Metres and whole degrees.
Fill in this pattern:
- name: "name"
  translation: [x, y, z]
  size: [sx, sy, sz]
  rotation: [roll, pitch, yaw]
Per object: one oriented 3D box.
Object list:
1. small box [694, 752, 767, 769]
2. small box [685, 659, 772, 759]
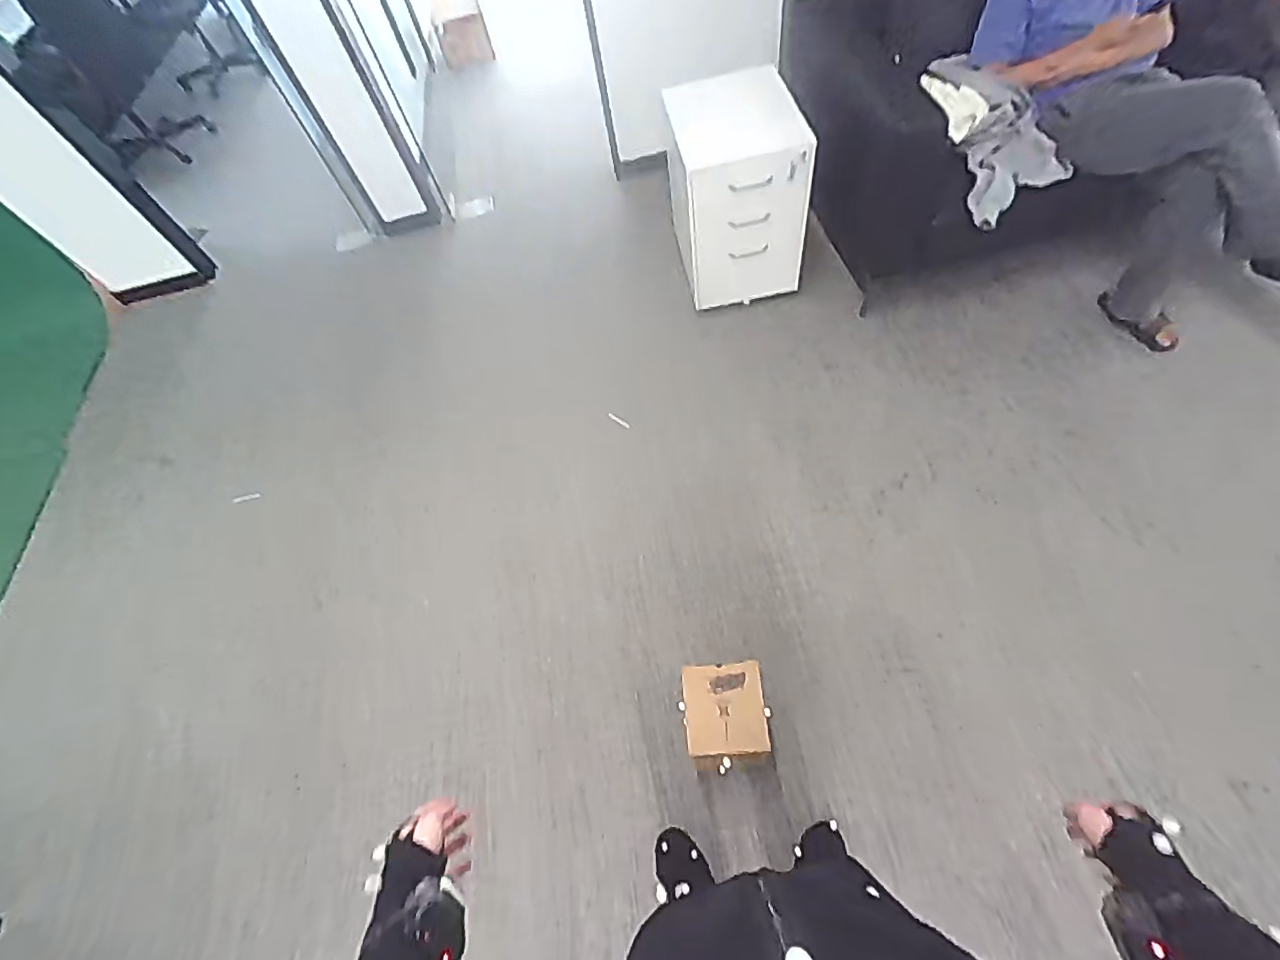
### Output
- name: "small box"
  translation: [0.209, 0.598, 1.321]
  size: [0.168, 0.176, 0.179]
  rotation: [-7, 58, 5]
- name: "small box"
  translation: [0.188, 0.505, 1.187]
  size: [0.168, 0.176, 0.179]
  rotation: [-6, 59, 6]
